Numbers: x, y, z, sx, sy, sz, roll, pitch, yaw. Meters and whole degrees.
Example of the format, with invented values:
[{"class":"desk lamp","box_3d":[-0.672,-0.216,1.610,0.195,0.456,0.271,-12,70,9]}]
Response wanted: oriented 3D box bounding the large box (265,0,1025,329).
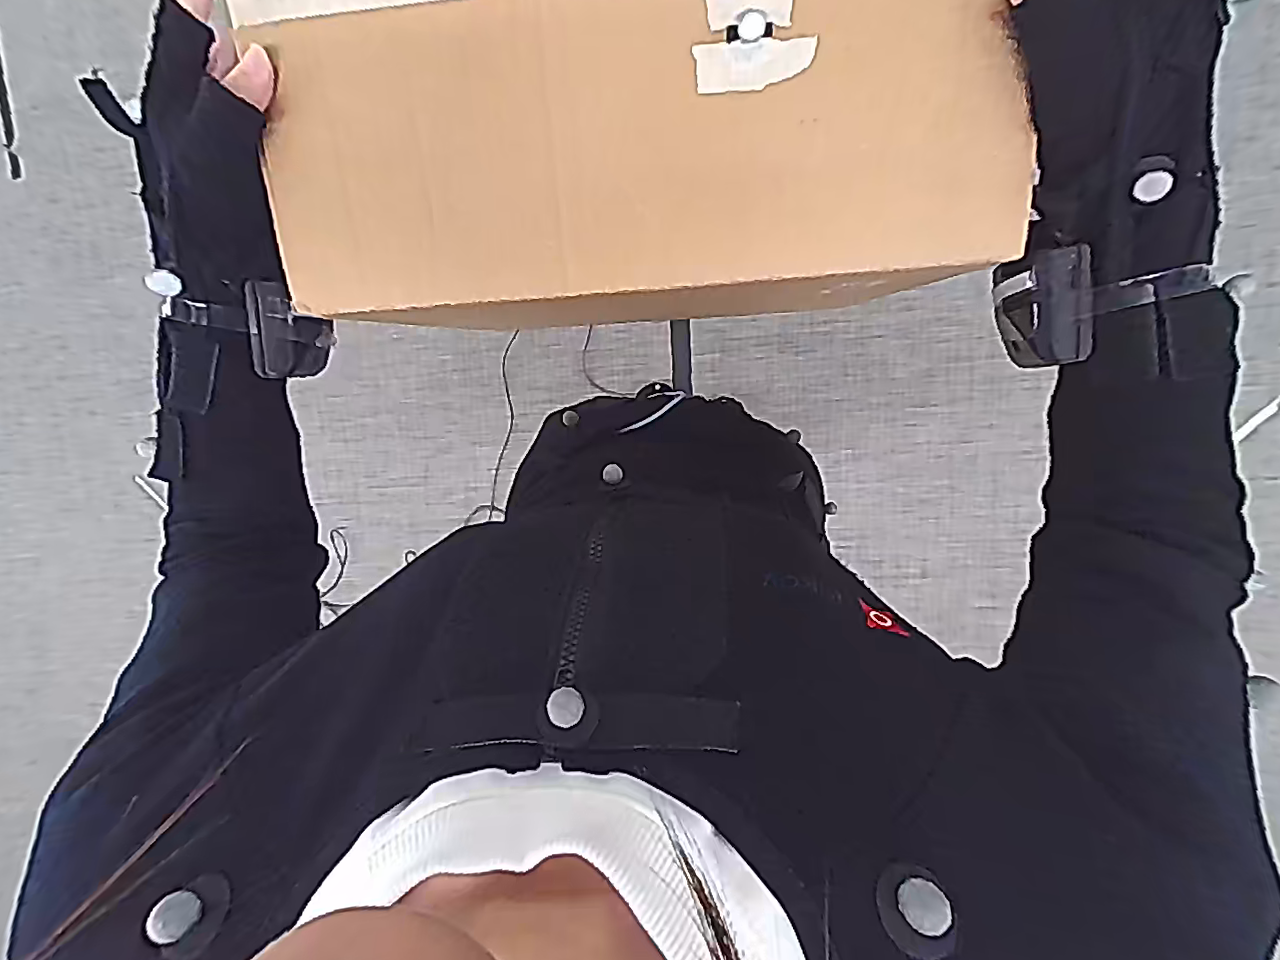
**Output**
[{"class":"large box","box_3d":[0.002,-0.299,0.422,0.408,0.320,0.320,-3,104,6]}]
